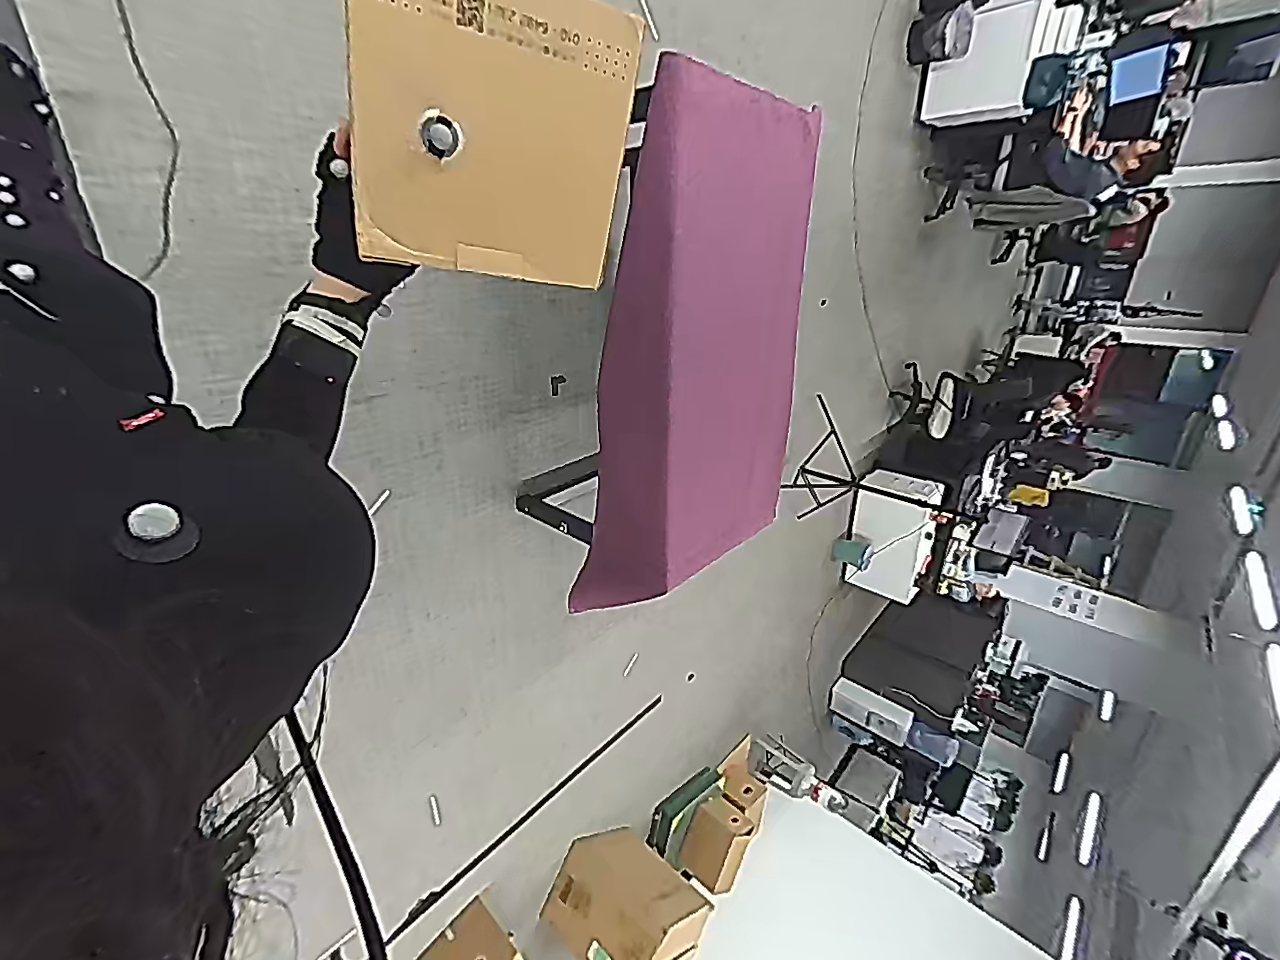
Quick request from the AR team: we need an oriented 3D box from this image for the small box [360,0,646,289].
[{"bbox_3d":[-0.109,-0.257,0.394,0.168,0.179,0.176,0,123,-28],"label":"small box"}]
